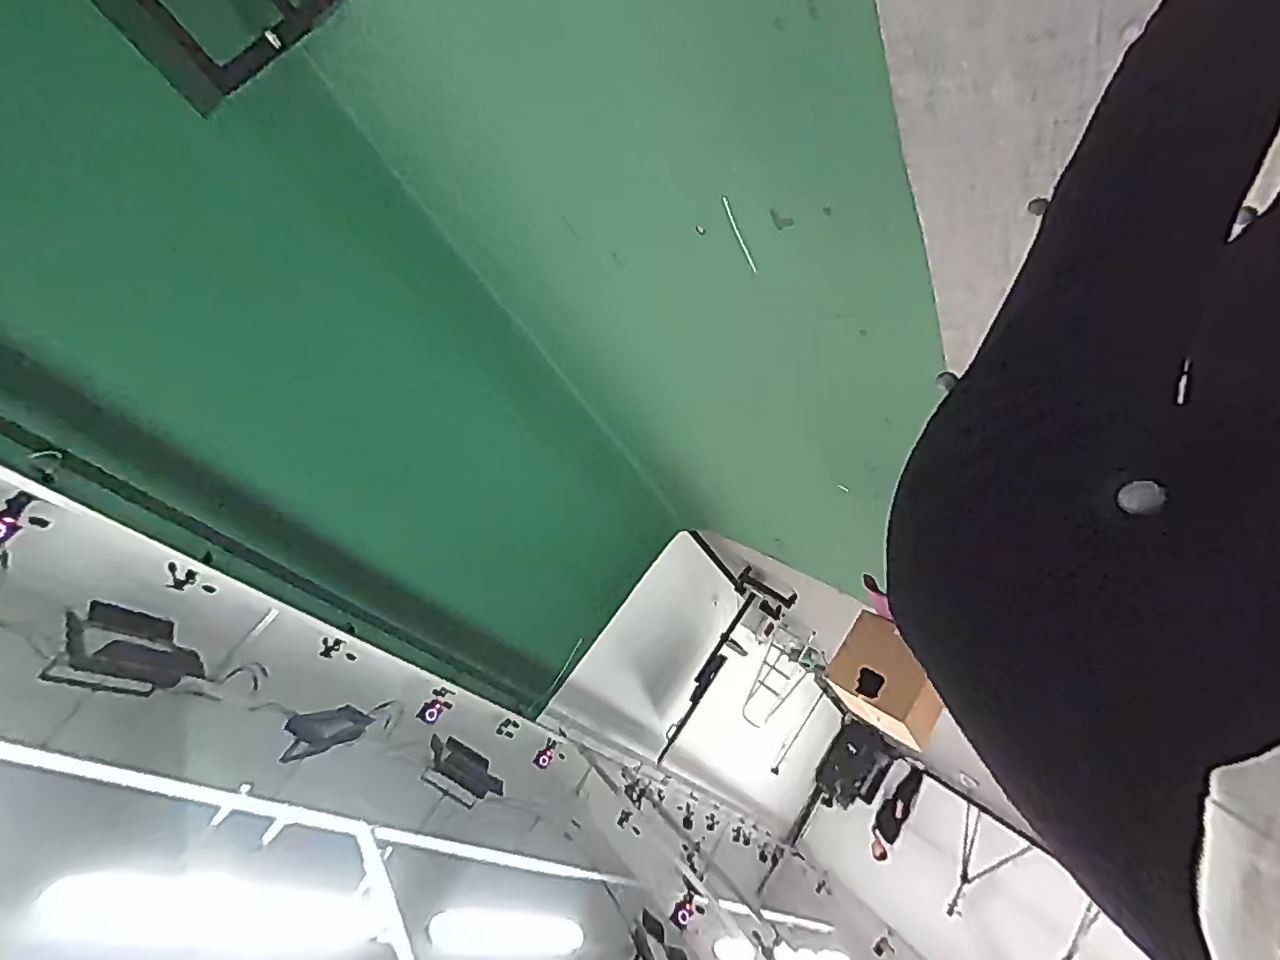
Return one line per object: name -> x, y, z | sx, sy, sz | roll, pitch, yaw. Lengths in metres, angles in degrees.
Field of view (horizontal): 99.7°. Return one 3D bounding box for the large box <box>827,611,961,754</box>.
large box -> 0.980, 0.770, 2.066 | 0.320, 0.320, 0.408 | 20, 157, 46
